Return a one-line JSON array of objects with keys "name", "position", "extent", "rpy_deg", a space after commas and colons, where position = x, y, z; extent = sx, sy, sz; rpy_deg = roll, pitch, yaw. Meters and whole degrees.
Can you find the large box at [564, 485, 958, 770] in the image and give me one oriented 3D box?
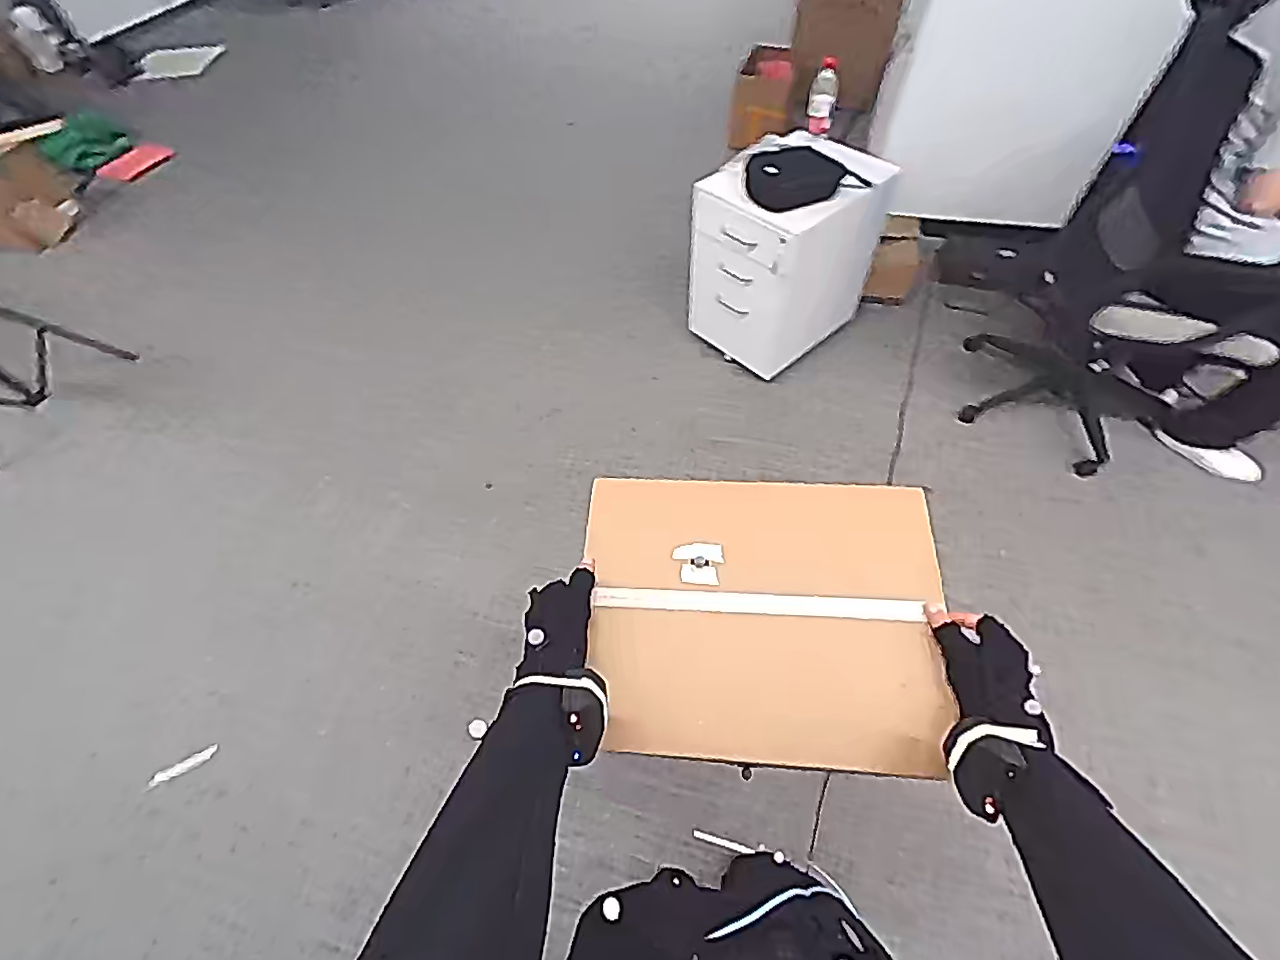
[{"name": "large box", "position": [0.141, 0.211, 0.747], "extent": [0.408, 0.320, 0.320], "rpy_deg": [1, 62, 7]}]
